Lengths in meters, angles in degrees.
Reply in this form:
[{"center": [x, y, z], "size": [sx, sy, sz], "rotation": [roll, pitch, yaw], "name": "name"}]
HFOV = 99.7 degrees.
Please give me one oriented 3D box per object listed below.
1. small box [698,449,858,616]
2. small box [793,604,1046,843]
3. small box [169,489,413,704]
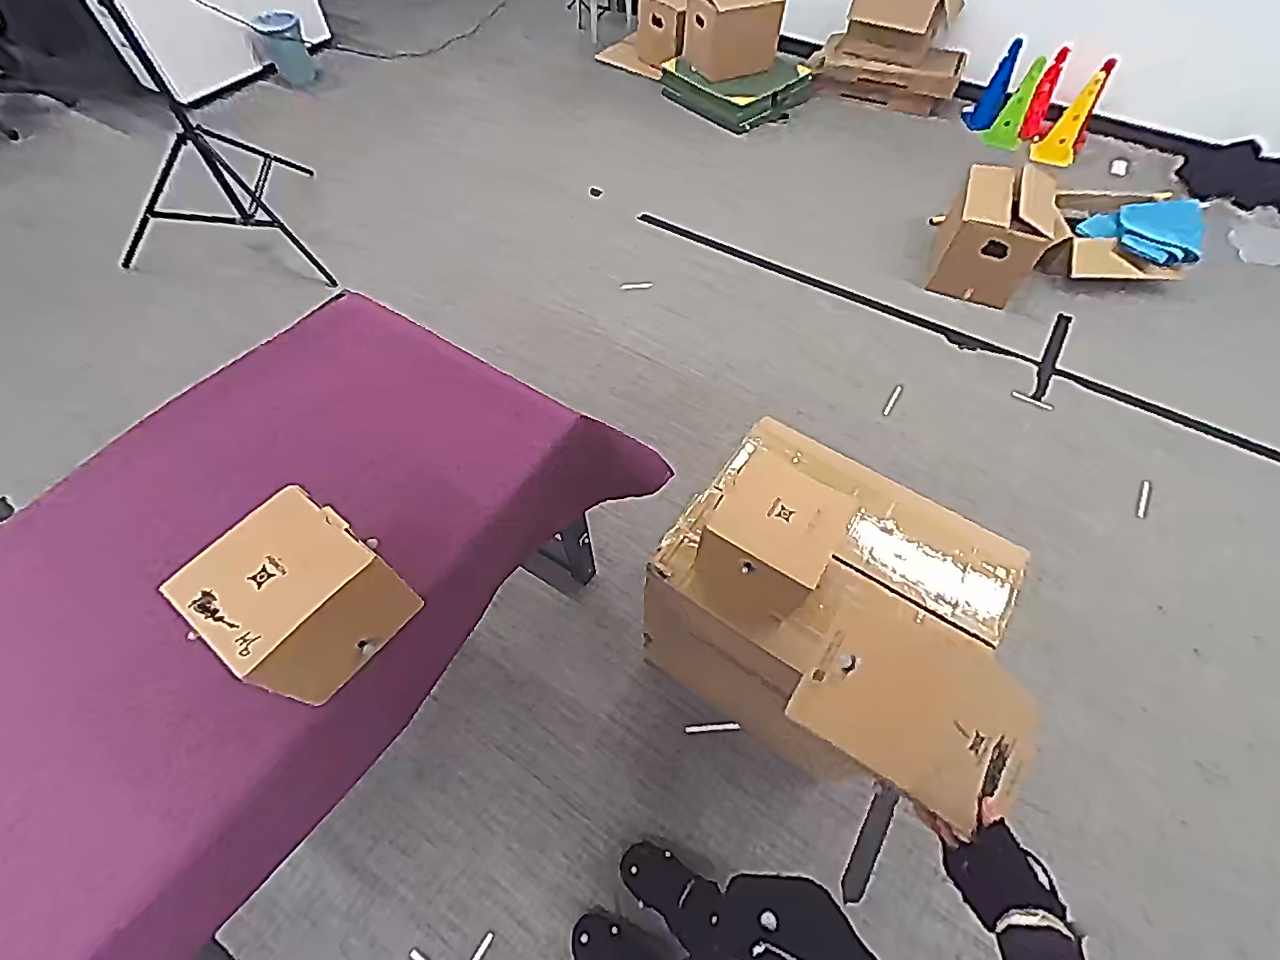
[{"center": [0.205, 0.089, 0.851], "size": [0.179, 0.176, 0.168], "rotation": [29, 65, 16], "name": "small box"}, {"center": [0.319, 0.267, 0.632], "size": [0.179, 0.176, 0.168], "rotation": [41, 75, -22], "name": "small box"}, {"center": [-0.418, 0.151, 0.687], "size": [0.168, 0.176, 0.179], "rotation": [33, 62, 19], "name": "small box"}]
